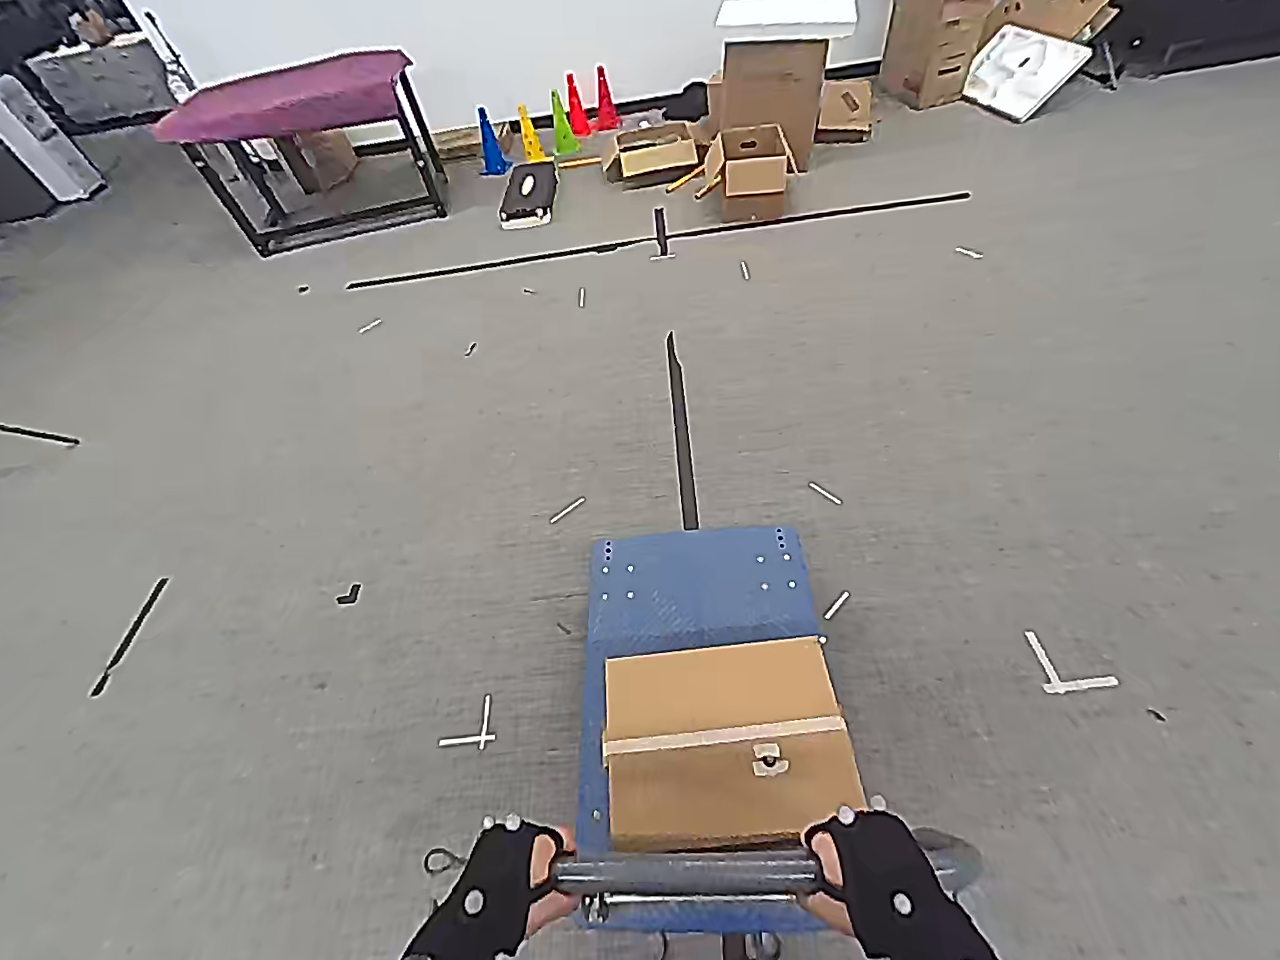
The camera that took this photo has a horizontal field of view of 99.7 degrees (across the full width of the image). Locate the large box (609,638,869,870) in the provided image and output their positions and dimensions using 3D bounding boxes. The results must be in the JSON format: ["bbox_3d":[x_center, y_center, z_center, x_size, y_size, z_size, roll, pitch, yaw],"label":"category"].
[{"bbox_3d":[0.163,0.538,1.050,0.408,0.320,0.320,-7,52,2],"label":"large box"}]
